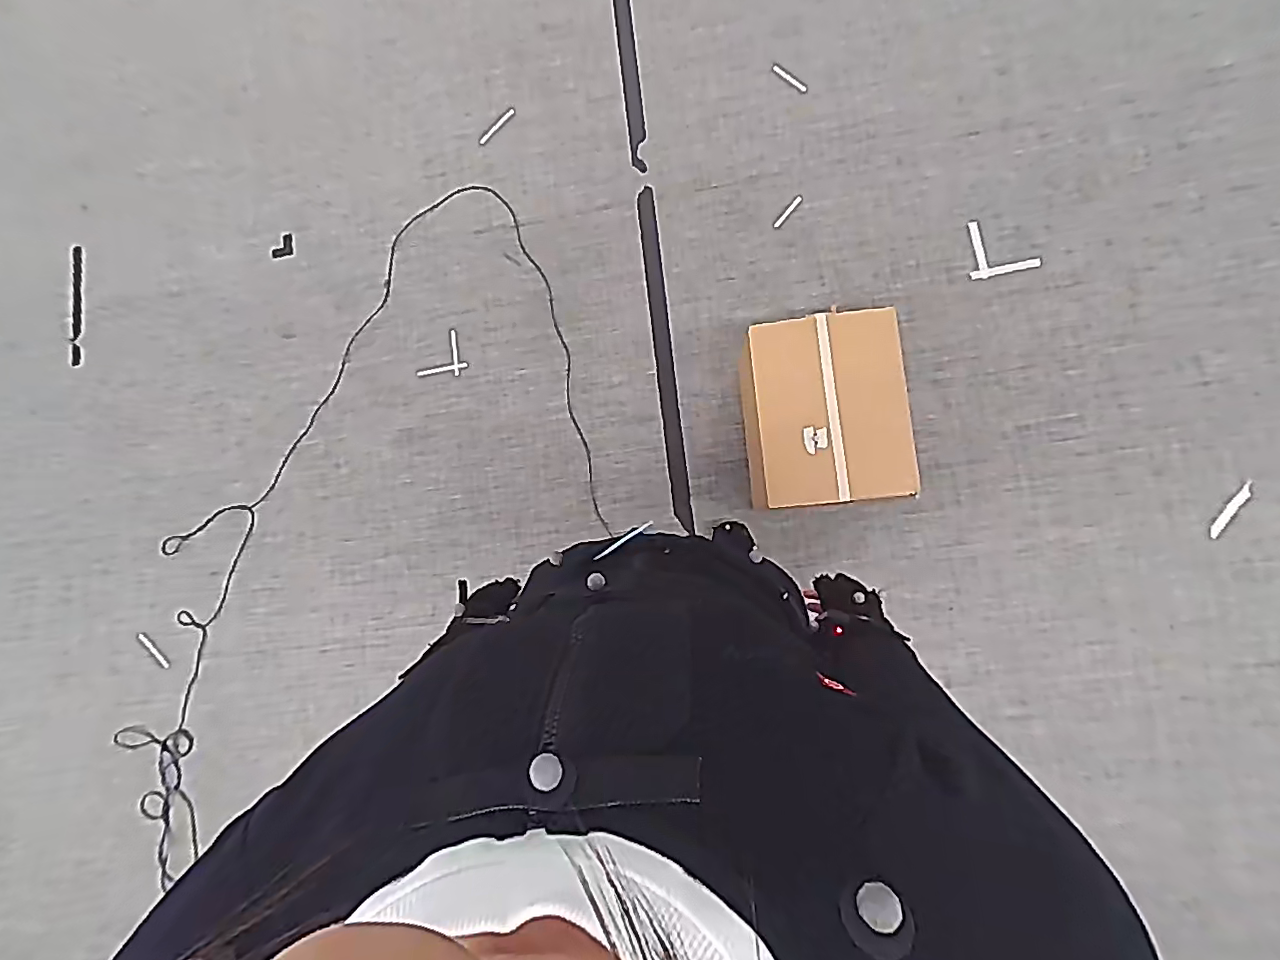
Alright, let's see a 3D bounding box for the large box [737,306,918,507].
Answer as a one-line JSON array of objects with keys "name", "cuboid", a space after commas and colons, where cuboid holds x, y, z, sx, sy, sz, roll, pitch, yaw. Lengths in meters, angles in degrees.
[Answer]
[{"name": "large box", "cuboid": [0.421, -0.152, 1.301, 0.320, 0.320, 0.408, -6, 86, 6]}]
